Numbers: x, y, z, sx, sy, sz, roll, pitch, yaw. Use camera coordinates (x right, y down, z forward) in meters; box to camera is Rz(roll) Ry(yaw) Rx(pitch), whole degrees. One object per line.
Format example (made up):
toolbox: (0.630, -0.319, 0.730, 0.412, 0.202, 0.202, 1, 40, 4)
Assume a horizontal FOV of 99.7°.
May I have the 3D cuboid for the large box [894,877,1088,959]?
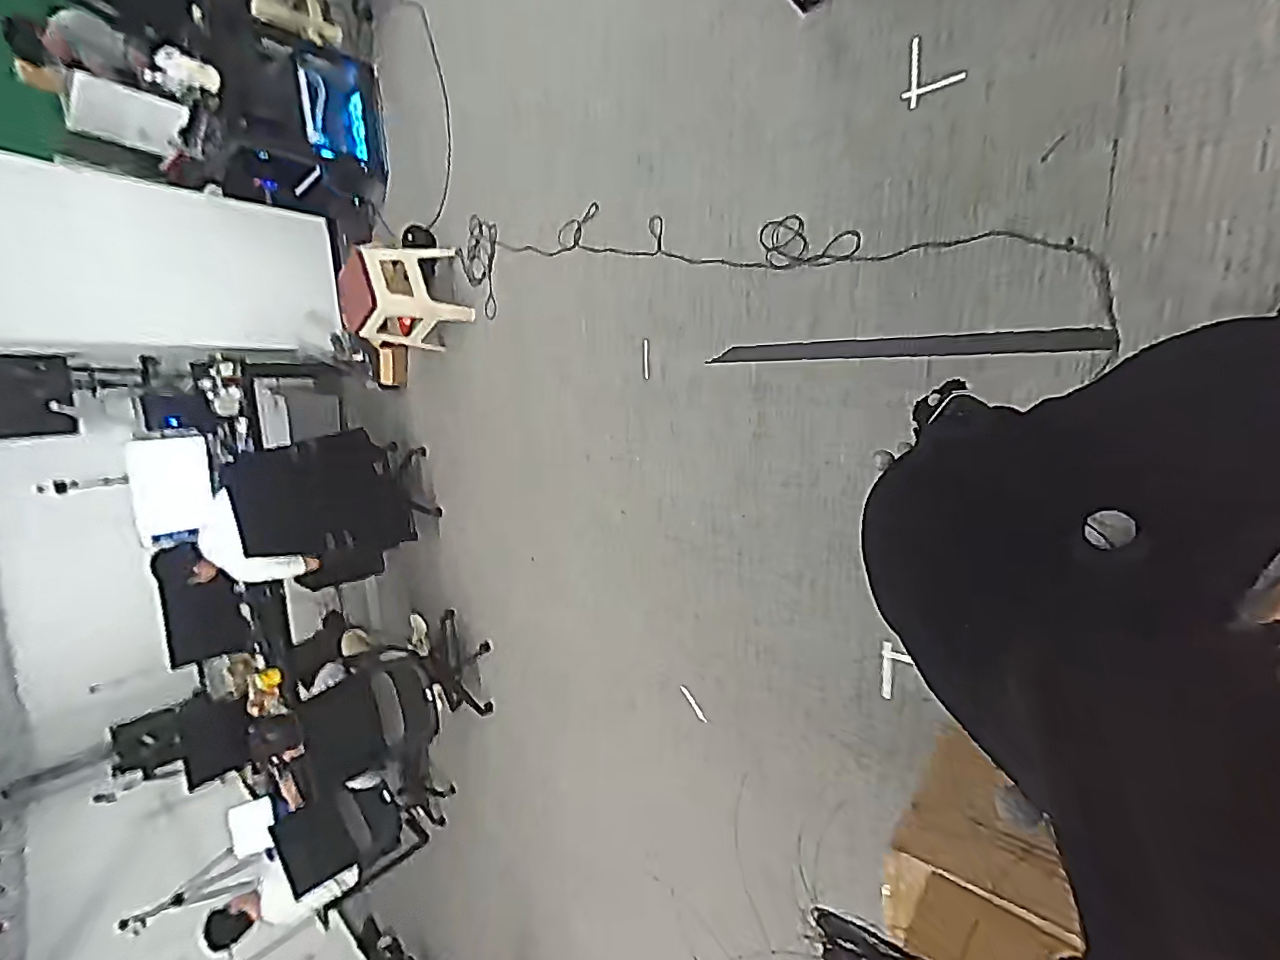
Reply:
large box: (0.553, 0.871, 0.724, 0.408, 0.320, 0.320, 10, 104, 42)
